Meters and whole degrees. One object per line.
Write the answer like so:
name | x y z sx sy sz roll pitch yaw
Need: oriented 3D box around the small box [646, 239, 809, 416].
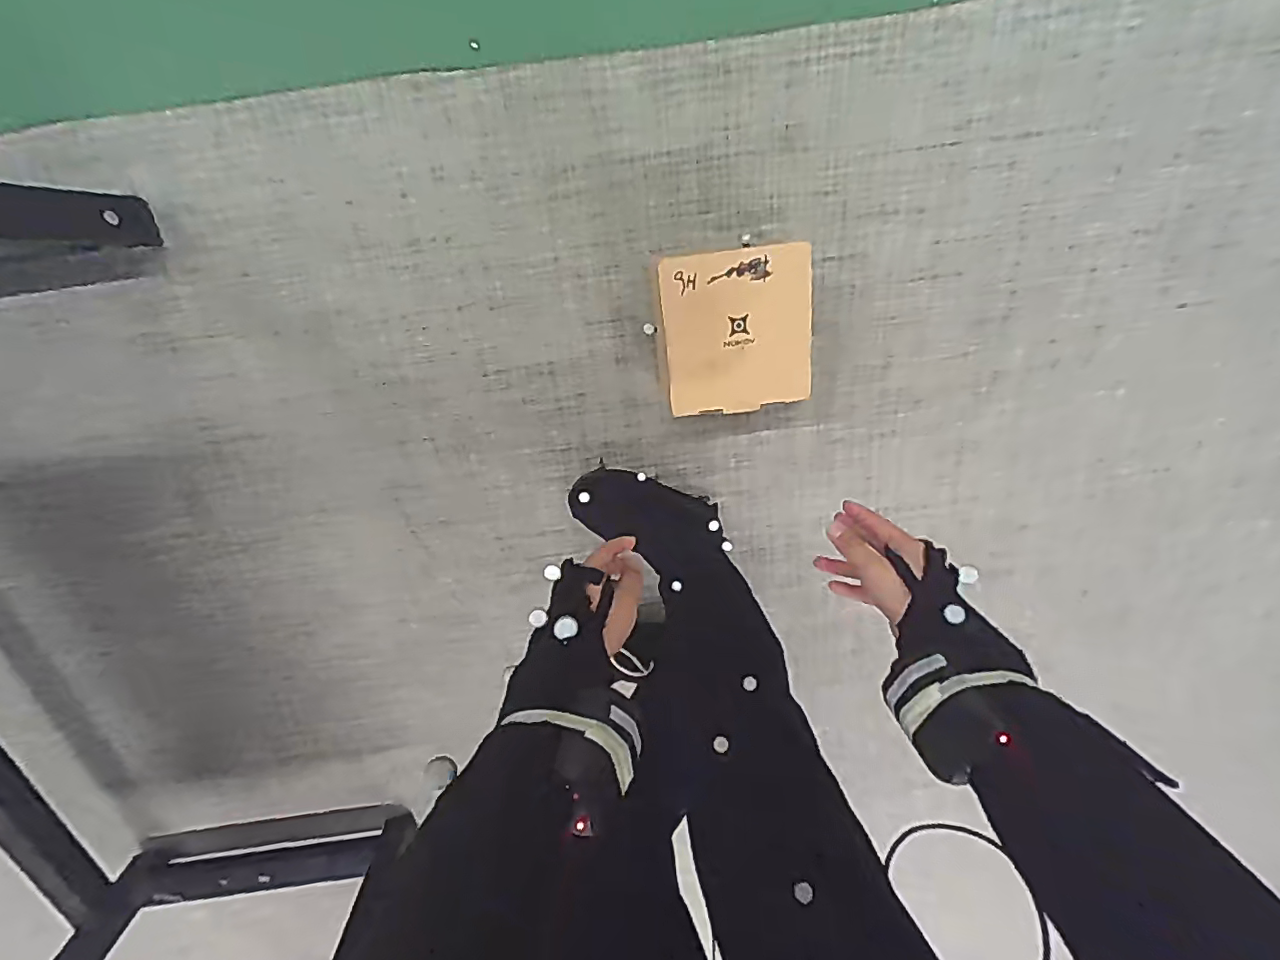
small box | 0.099 -0.195 0.668 0.168 0.176 0.179 -7 114 0
